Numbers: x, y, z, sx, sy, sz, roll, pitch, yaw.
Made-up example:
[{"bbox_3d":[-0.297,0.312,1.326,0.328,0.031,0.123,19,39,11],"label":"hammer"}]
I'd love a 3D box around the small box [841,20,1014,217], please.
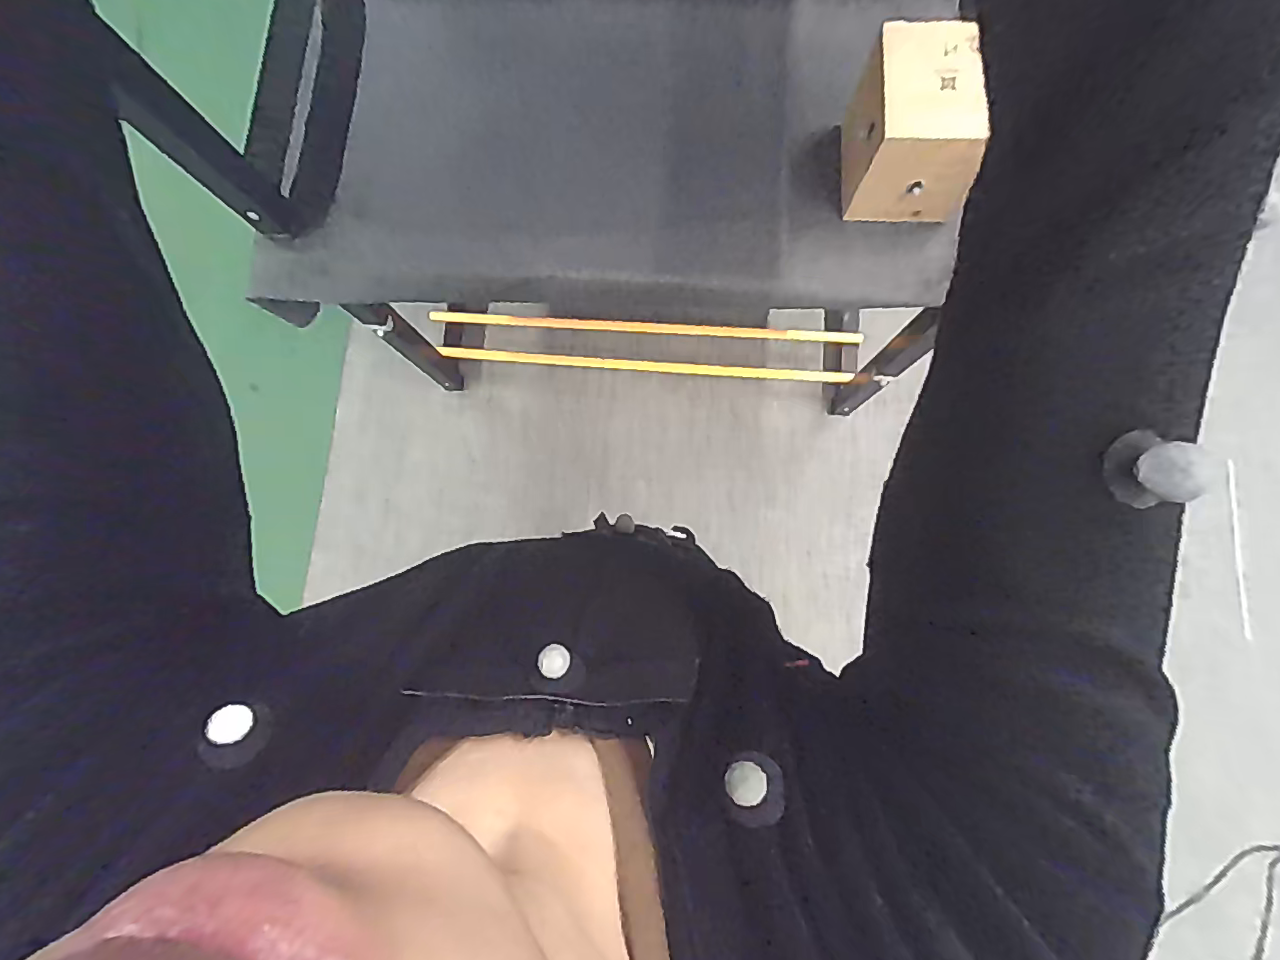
[{"bbox_3d":[0.396,-0.503,0.773,0.168,0.176,0.179,2,80,3],"label":"small box"}]
